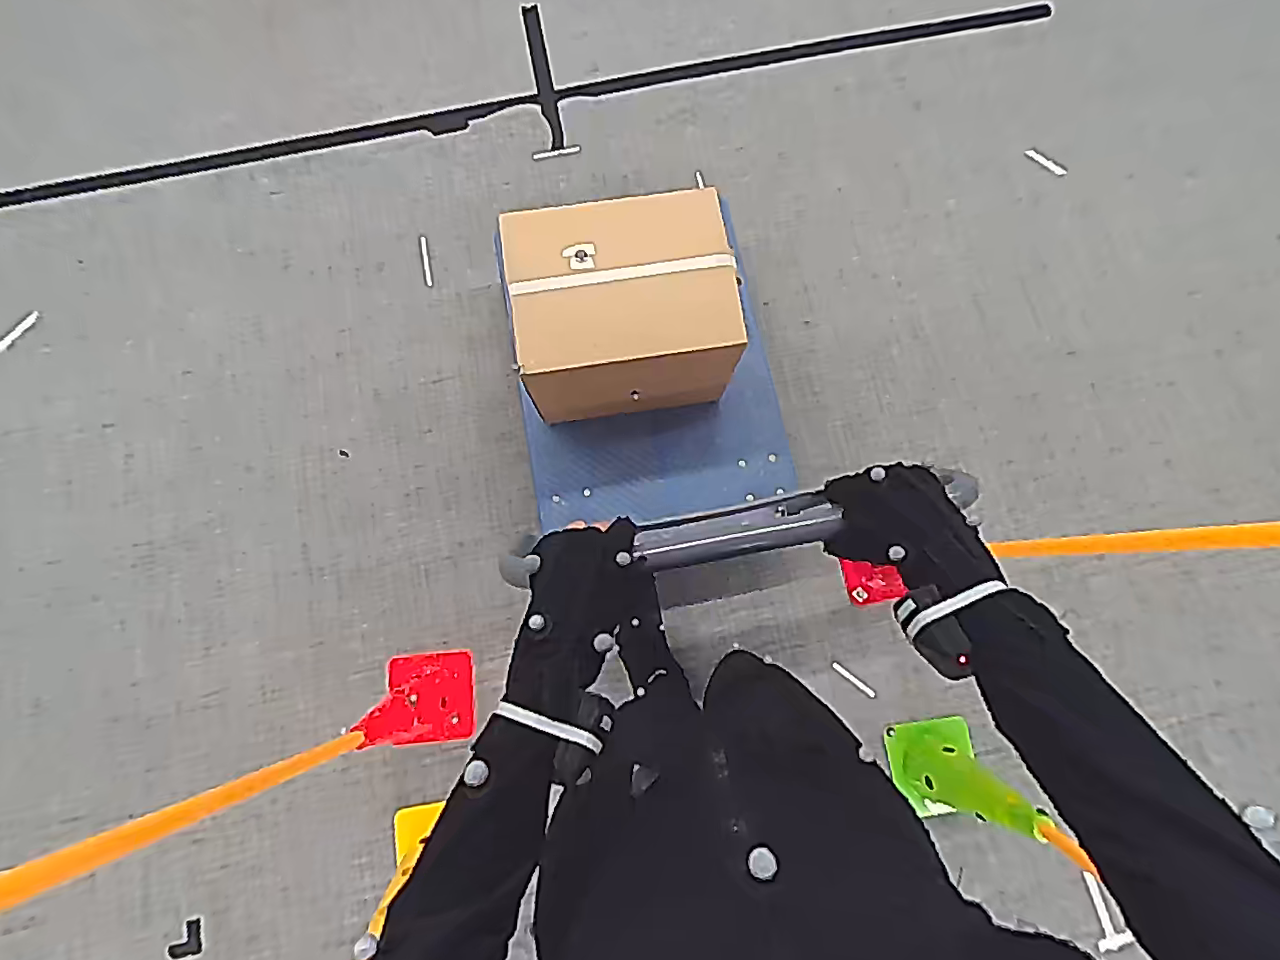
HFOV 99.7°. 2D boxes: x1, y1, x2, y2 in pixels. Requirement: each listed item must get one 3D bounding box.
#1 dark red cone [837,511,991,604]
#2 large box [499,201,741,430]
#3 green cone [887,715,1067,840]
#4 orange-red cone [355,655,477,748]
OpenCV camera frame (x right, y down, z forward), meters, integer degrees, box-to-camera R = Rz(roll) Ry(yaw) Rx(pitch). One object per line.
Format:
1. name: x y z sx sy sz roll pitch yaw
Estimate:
1. dark red cone: 0.604 0.155 1.160 0.201 0.394 0.202 -12 79 -5
2. large box: -0.039 -0.316 1.123 0.408 0.320 0.320 -9 80 -2
3. green cone: 0.689 0.627 1.083 0.202 0.368 0.200 -8 79 -3
4. orange-red cone: -0.481 0.481 1.105 0.198 0.360 0.199 -5 77 -2
